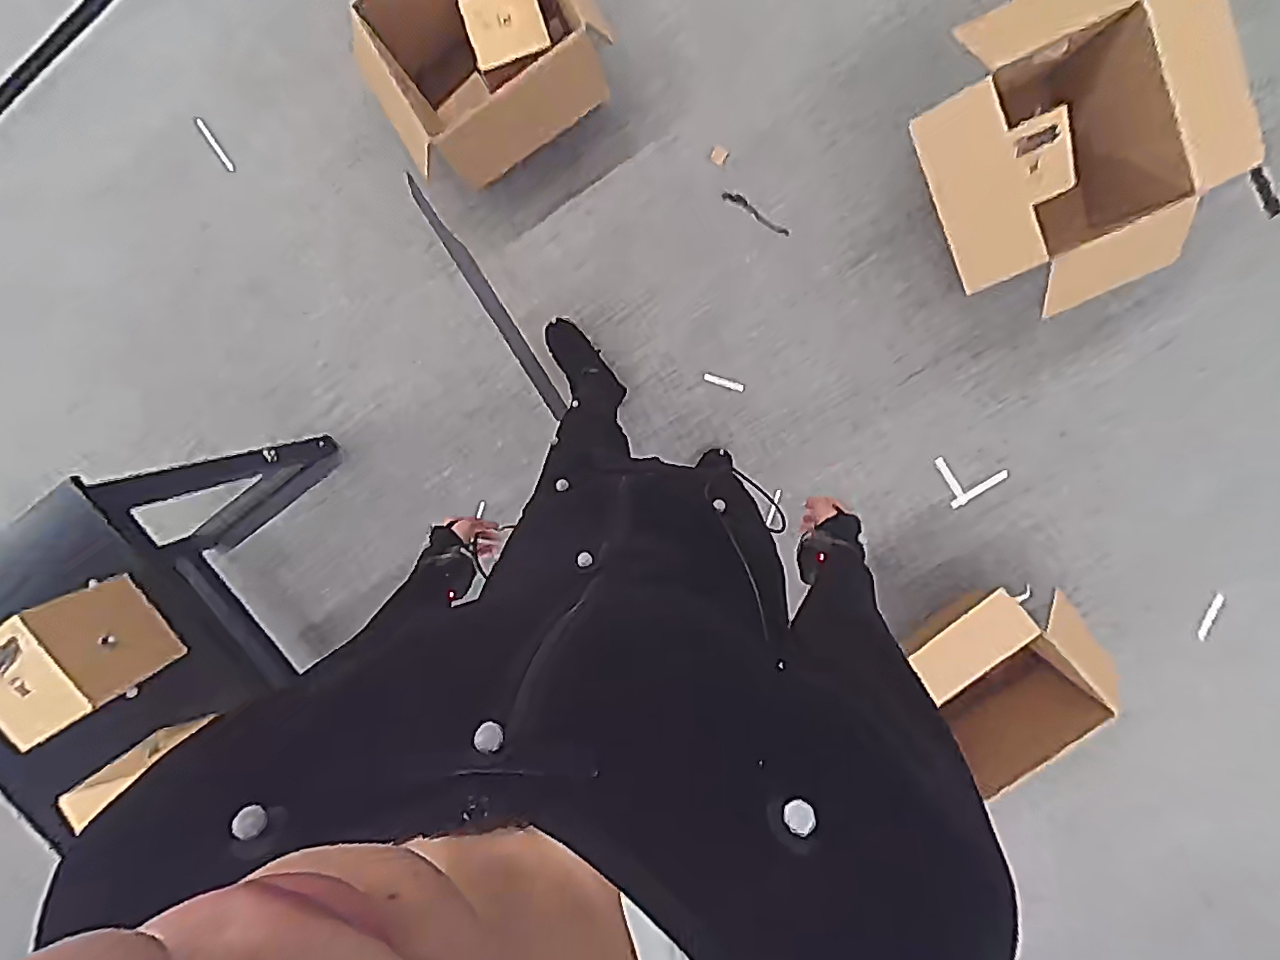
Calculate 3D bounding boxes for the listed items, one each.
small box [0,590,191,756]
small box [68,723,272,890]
[{"bbox_3d":[-0.921,0.304,0.897,0.168,0.176,0.179,-30,99,10],"label":"small box"},{"bbox_3d":[-0.800,0.553,0.941,0.168,0.176,0.179,-19,101,8],"label":"small box"}]
